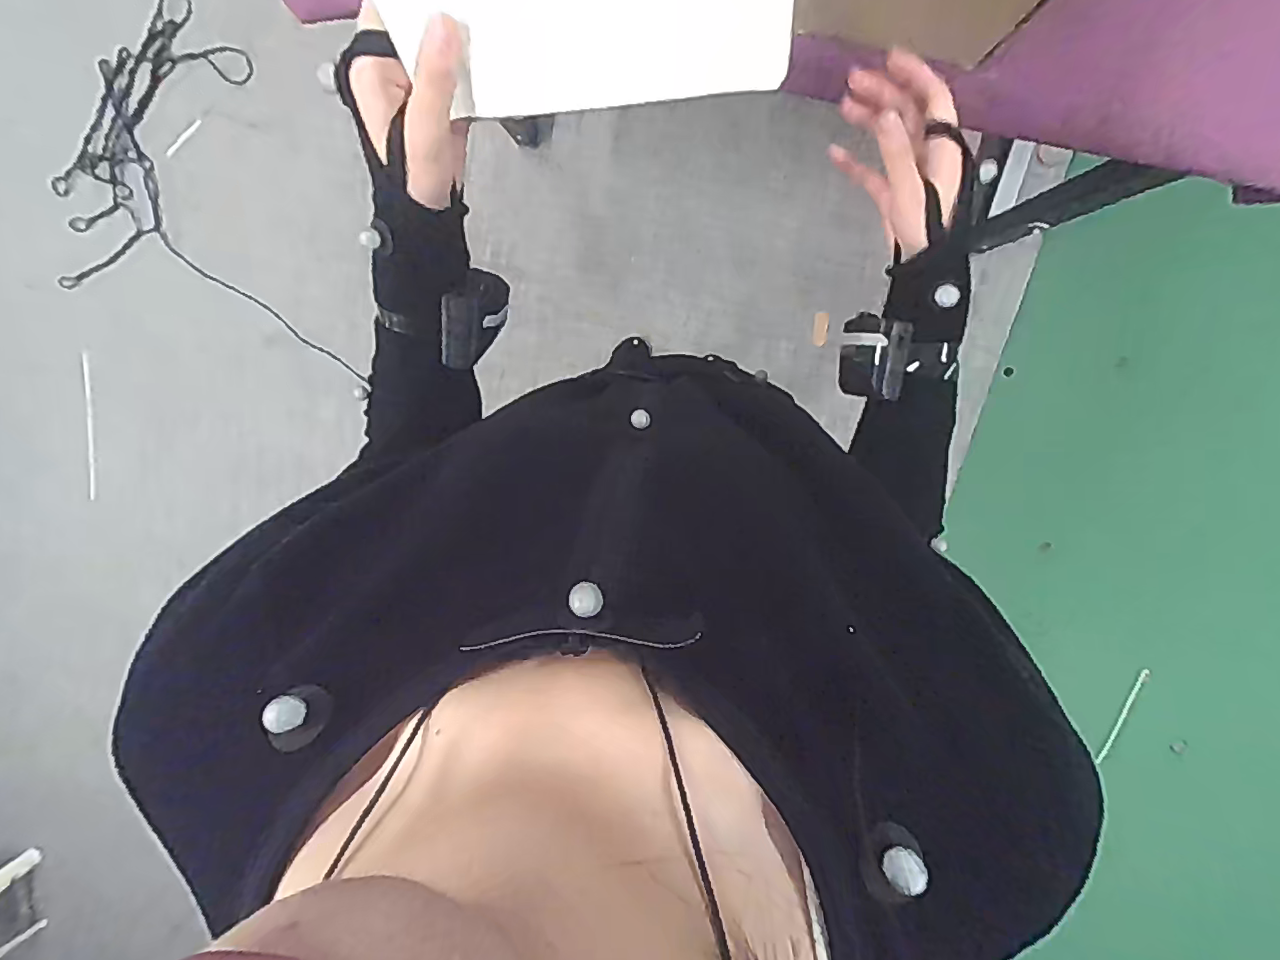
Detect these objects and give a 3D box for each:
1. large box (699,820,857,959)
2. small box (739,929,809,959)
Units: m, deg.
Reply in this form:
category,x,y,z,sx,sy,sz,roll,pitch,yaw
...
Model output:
category,x,y,z,sx,sy,sz,roll,pitch,yaw
large box,0.387,1.264,1.605,0.408,0.320,0.320,-1,103,4
small box,0.339,1.285,1.360,0.168,0.176,0.179,5,102,5
